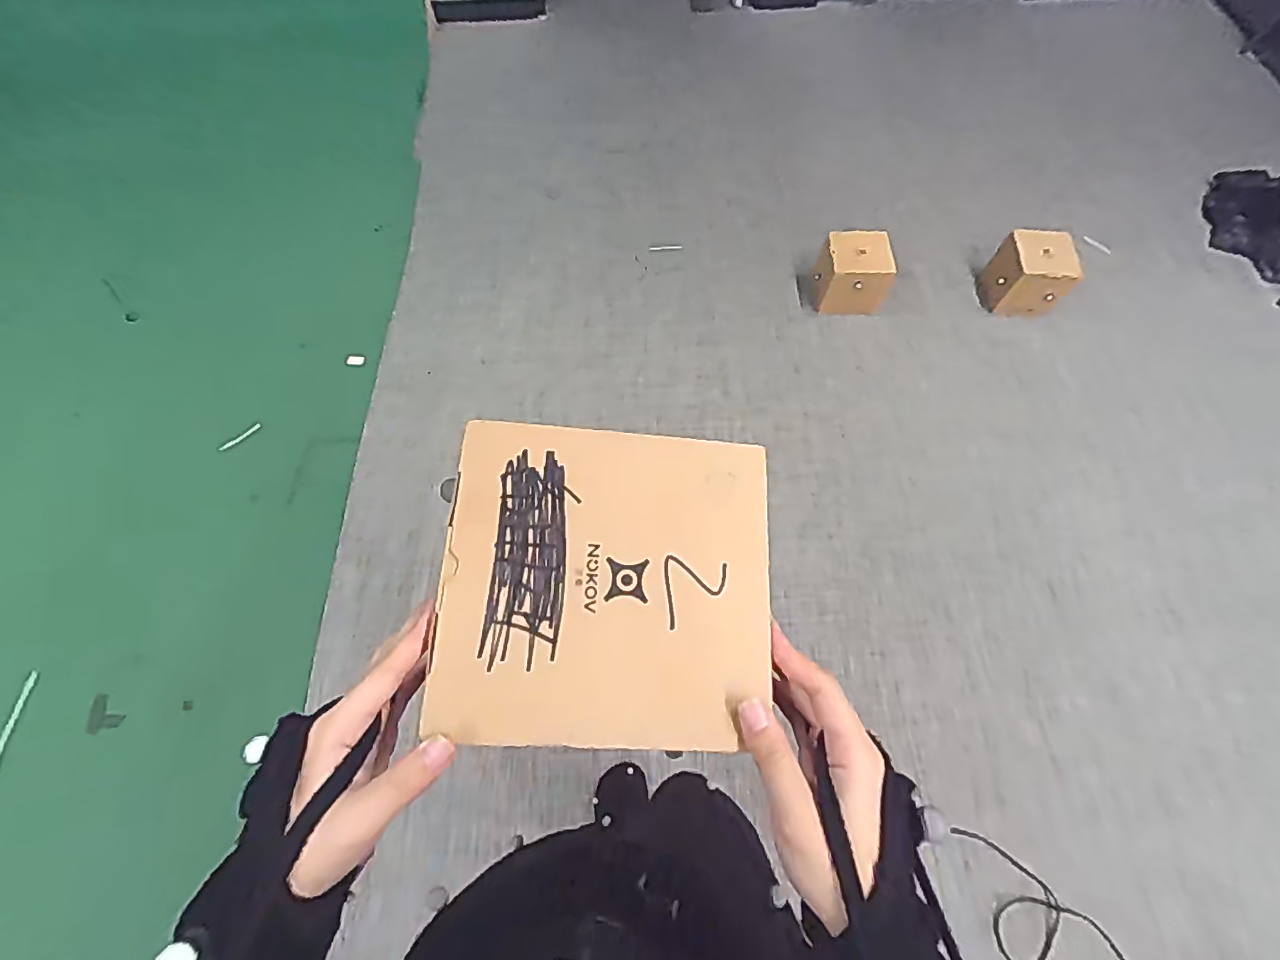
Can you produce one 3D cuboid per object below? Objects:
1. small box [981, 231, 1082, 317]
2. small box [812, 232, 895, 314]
[{"bbox_3d":[1.158,-0.611,1.615,0.168,0.176,0.179,4,64,1],"label":"small box"},{"bbox_3d":[0.635,-0.618,1.625,0.179,0.176,0.168,0,65,1],"label":"small box"}]
